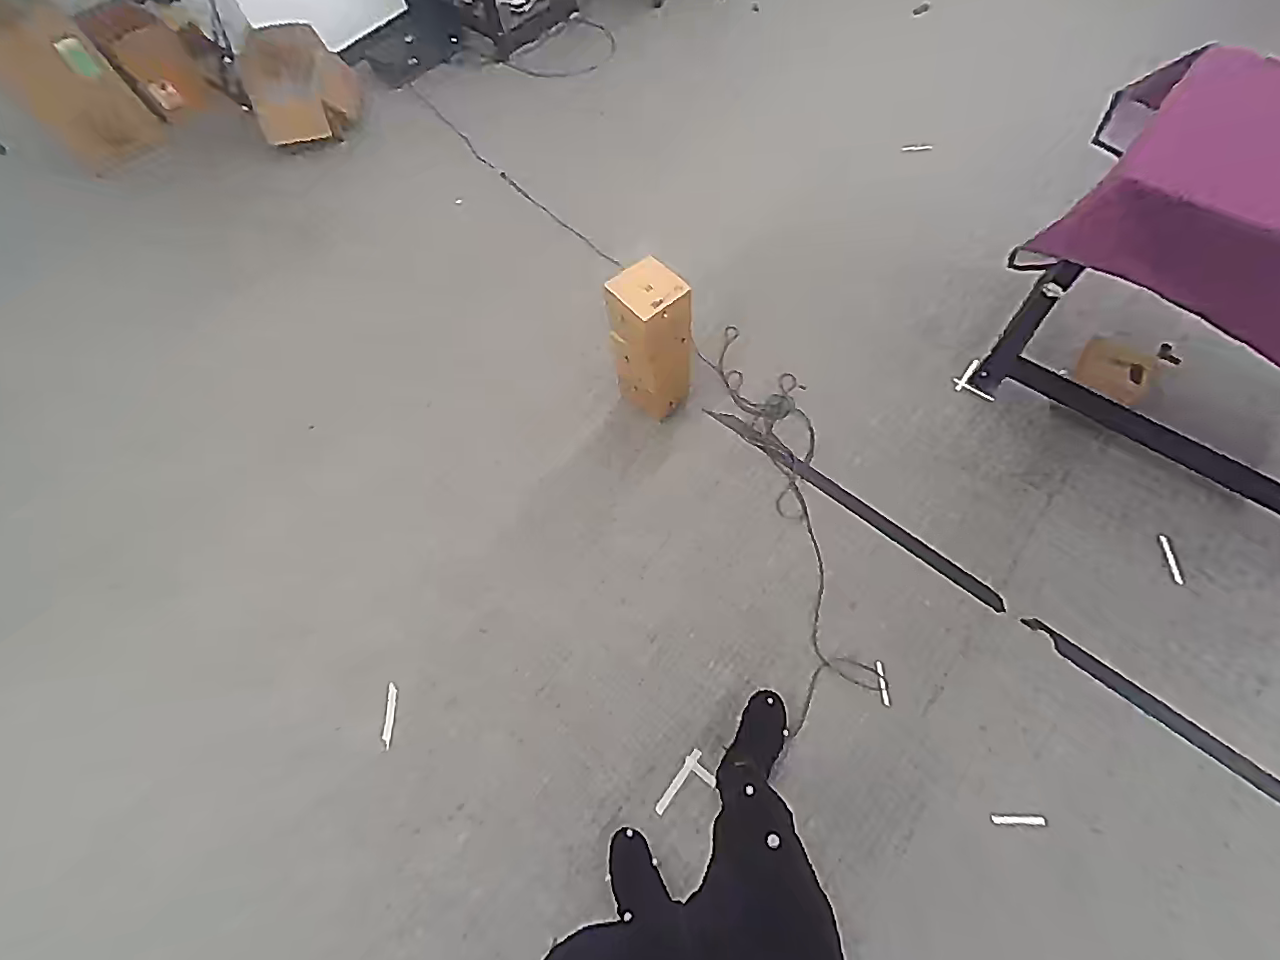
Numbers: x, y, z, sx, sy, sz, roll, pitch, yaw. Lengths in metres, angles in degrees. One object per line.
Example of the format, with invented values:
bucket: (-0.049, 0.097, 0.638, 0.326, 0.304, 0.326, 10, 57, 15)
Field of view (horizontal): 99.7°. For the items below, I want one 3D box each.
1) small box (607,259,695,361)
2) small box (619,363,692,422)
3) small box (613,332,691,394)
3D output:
small box: (0.032, -0.462, 1.485, 0.168, 0.176, 0.179, -37, 66, -13)
small box: (0.054, -0.323, 1.780, 0.179, 0.176, 0.168, 38, 73, 19)
small box: (0.044, -0.393, 1.634, 0.168, 0.176, 0.179, 40, 73, 20)
